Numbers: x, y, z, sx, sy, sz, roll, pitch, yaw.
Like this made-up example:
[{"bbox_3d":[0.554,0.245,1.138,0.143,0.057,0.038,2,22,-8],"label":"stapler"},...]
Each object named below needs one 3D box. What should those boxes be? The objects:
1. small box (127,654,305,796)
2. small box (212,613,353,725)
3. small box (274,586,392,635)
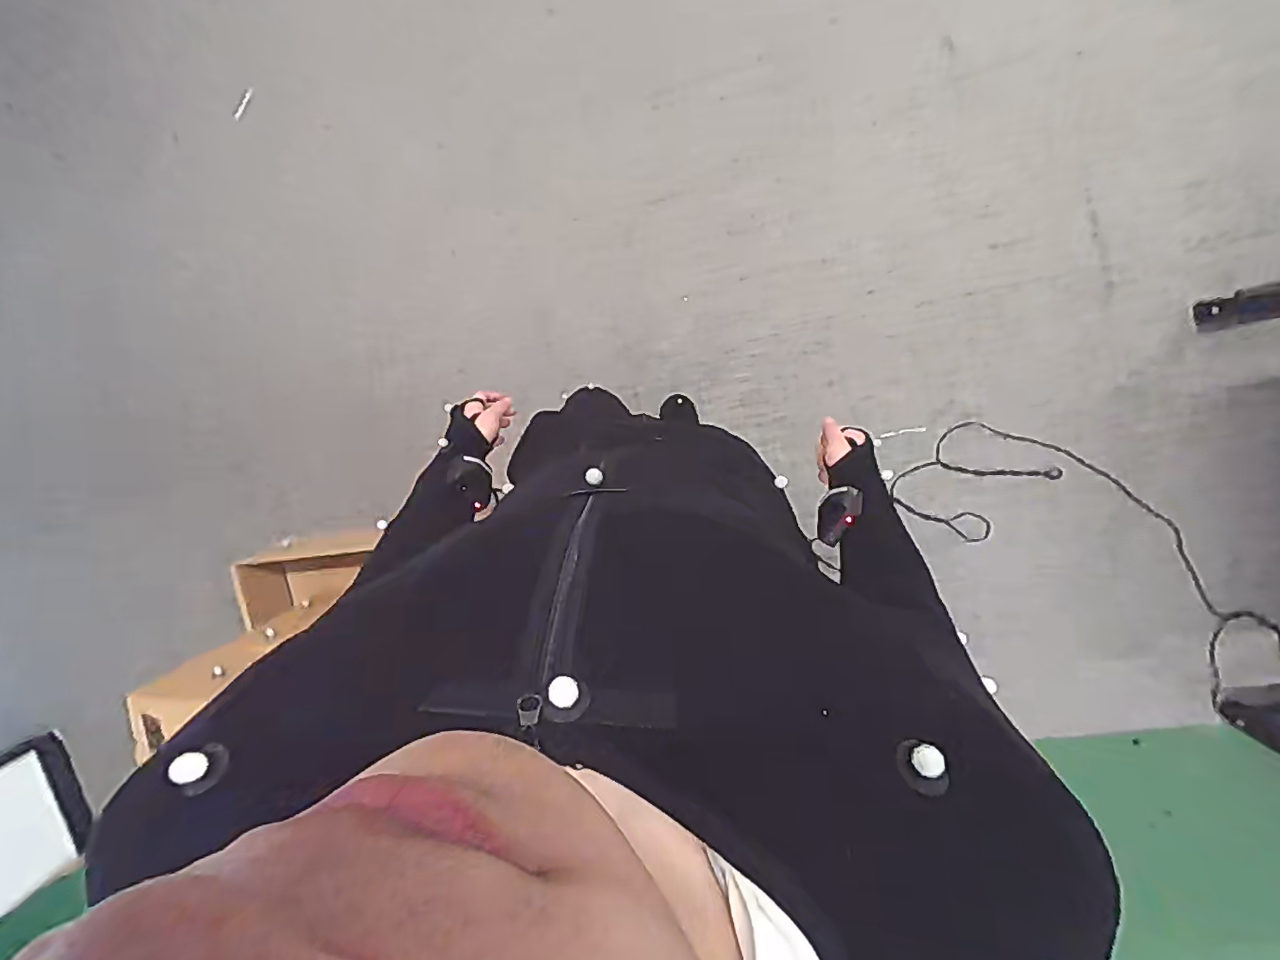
[{"bbox_3d":[-0.732,0.420,0.952,0.179,0.176,0.168,0,99,3],"label":"small box"},{"bbox_3d":[-0.715,0.389,1.112,0.179,0.176,0.168,-9,98,5],"label":"small box"},{"bbox_3d":[-0.704,0.362,1.271,0.179,0.176,0.168,-8,99,6],"label":"small box"}]
